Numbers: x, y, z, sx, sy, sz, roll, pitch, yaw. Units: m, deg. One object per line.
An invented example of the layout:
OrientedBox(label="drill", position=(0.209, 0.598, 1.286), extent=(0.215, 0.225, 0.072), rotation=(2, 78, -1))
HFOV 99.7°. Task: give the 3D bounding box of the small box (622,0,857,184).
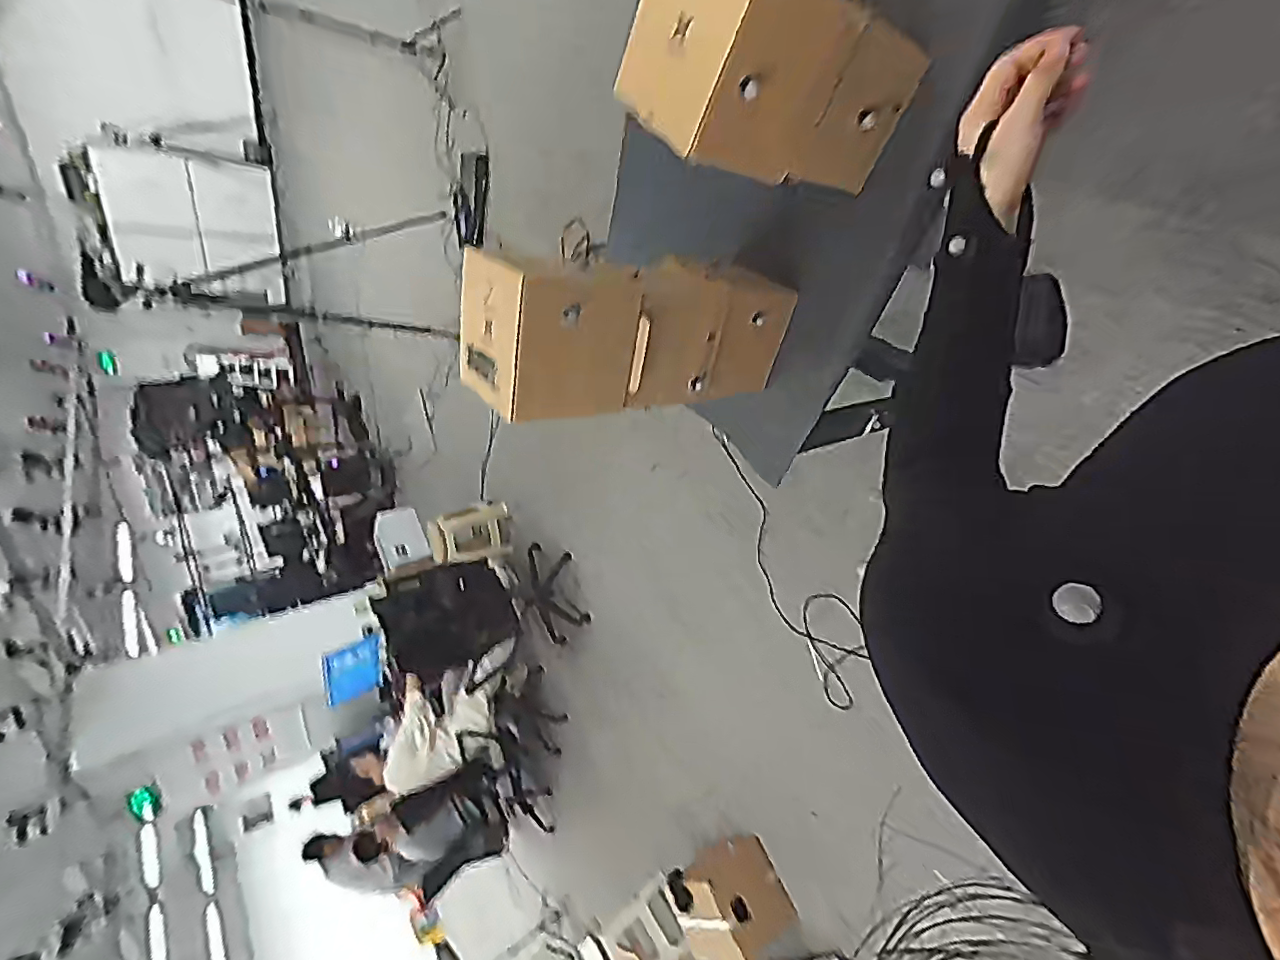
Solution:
OrientedBox(label="small box", position=(0.112, -0.468, 0.612), extent=(0.168, 0.176, 0.179), rotation=(55, 139, 27))

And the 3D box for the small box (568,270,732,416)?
OrientedBox(label="small box", position=(0.012, -0.213, 0.822), extent=(0.179, 0.176, 0.168), rotation=(39, 129, 41))

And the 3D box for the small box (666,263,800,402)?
OrientedBox(label="small box", position=(0.142, -0.252, 0.916), extent=(0.168, 0.176, 0.179), rotation=(43, 132, 38))

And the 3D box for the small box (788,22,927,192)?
OrientedBox(label="small box", position=(0.234, -0.501, 0.716), extent=(0.179, 0.176, 0.168), rotation=(50, 136, 30))
